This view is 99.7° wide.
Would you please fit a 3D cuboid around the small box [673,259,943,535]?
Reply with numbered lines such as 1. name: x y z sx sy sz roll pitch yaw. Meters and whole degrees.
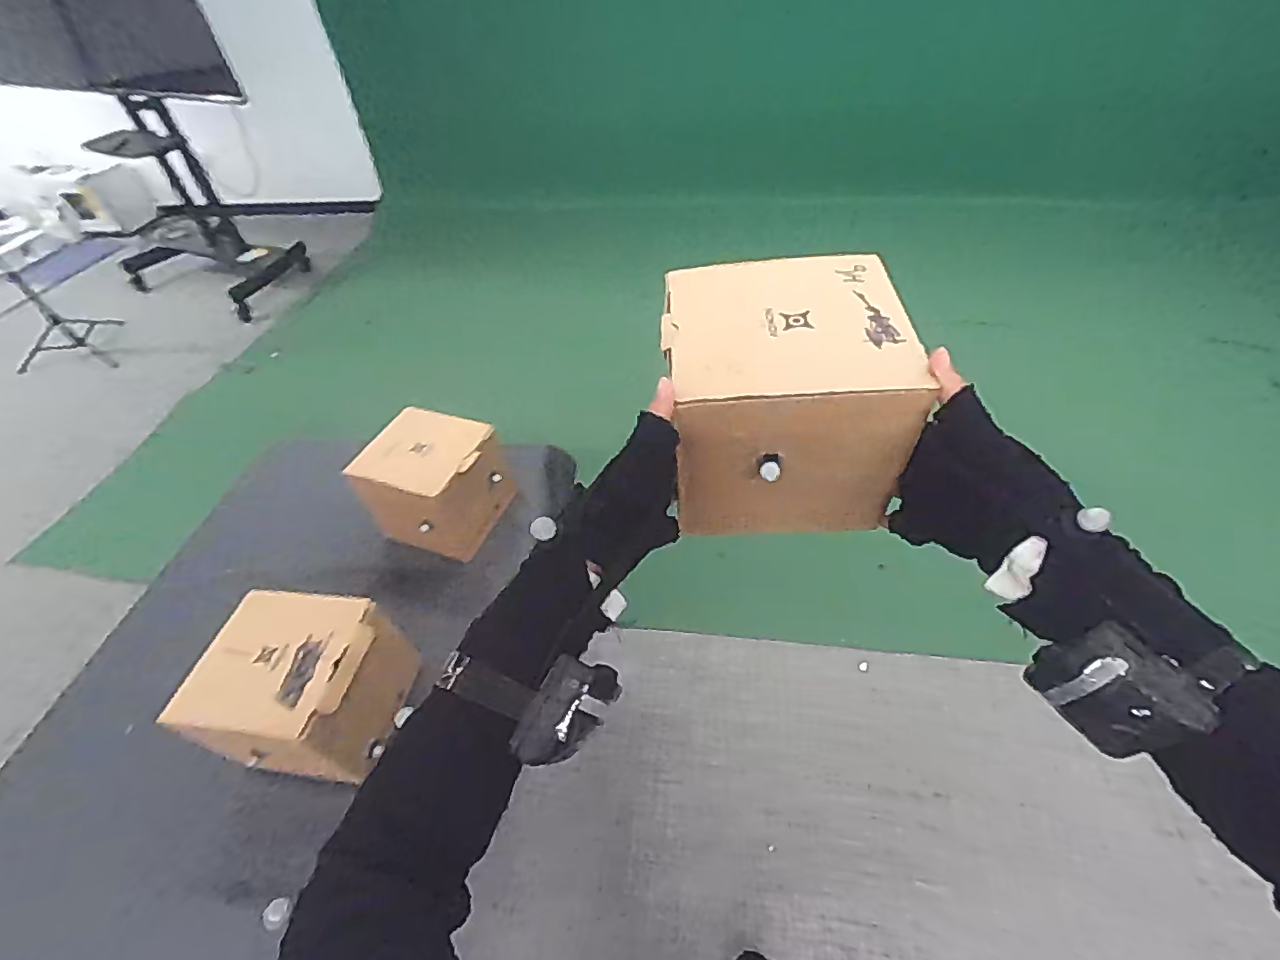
1. small box: 0.123 -0.064 0.466 0.179 0.176 0.168 -3 51 6

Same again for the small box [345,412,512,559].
1. small box: -0.340 0.012 0.911 0.179 0.176 0.168 12 49 17

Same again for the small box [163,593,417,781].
1. small box: -0.415 0.263 0.683 0.179 0.176 0.168 3 47 9
